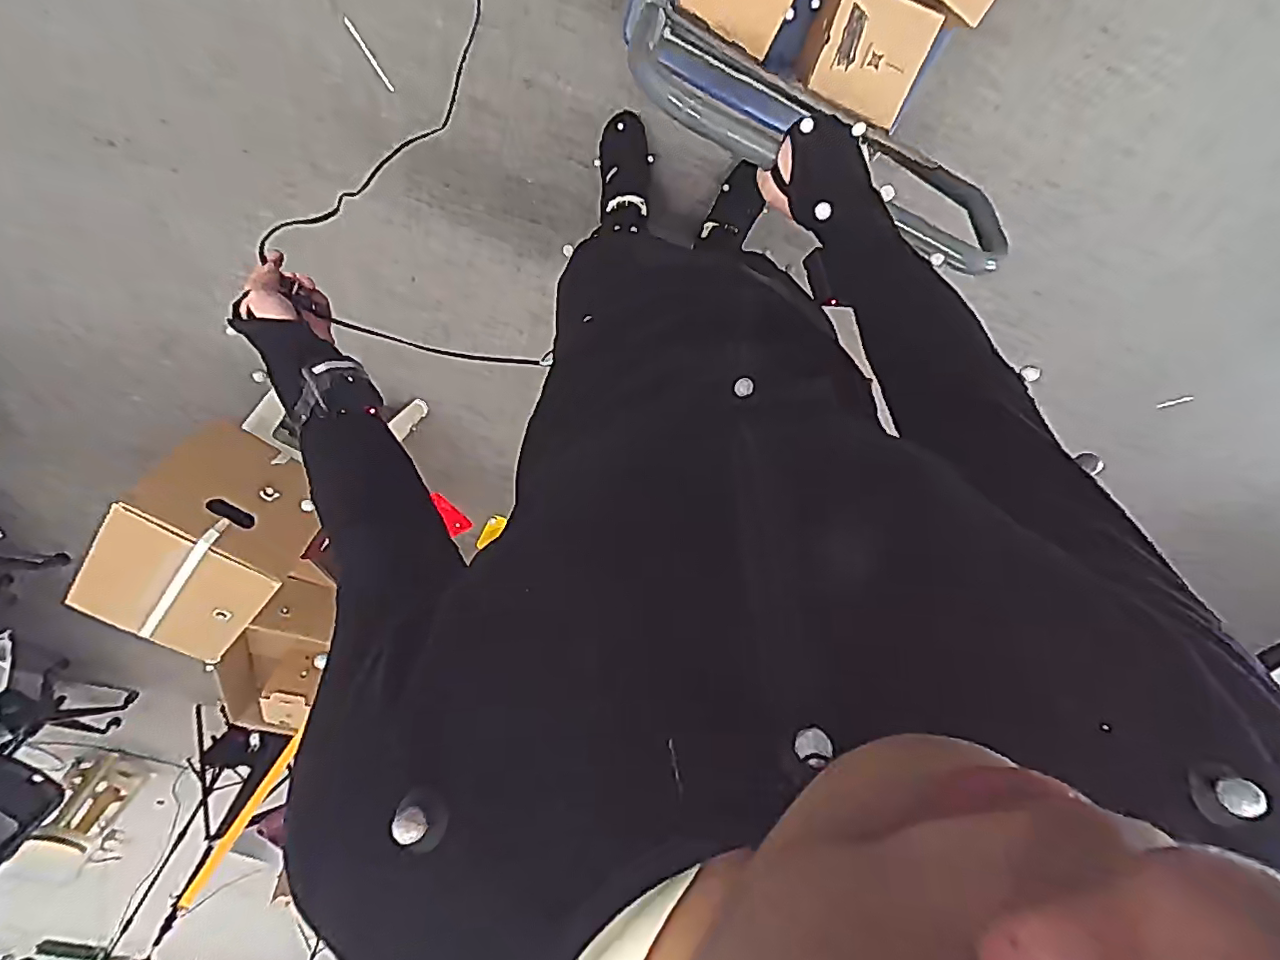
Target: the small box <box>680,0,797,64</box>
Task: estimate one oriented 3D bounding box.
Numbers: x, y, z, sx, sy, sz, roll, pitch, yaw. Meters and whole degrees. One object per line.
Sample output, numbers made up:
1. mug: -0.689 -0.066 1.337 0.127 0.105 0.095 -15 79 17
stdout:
1. small box: 0.176 -0.843 0.906 0.168 0.176 0.179 22 126 -17
